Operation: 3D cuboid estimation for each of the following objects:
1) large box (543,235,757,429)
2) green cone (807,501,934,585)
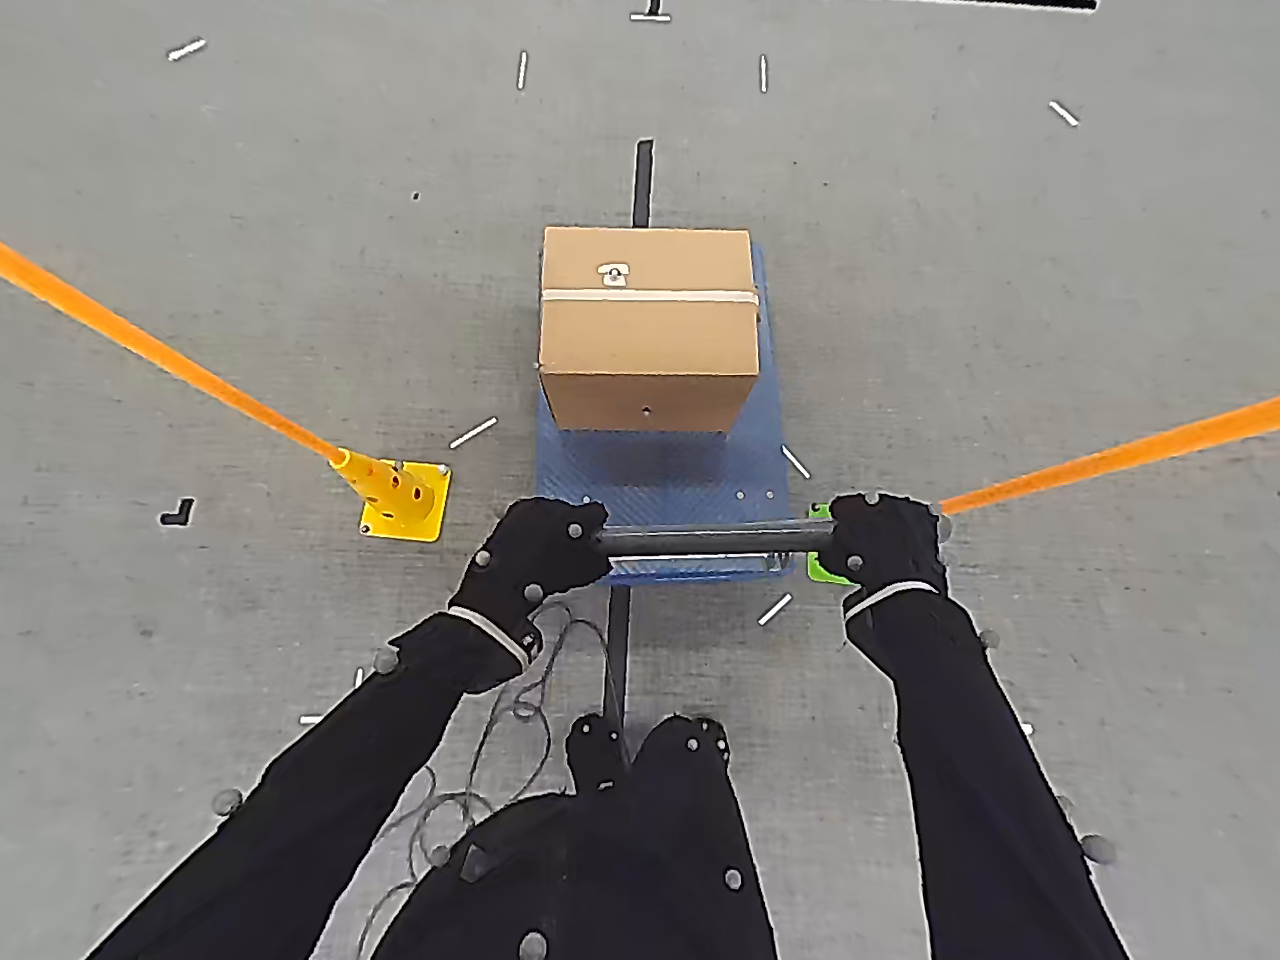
[{"bbox_3d":[0.016,-0.300,1.173,0.408,0.320,0.320,1,76,-1],"label":"large box"},{"bbox_3d":[0.540,0.116,1.225,0.202,0.368,0.200,7,75,-1],"label":"green cone"}]
